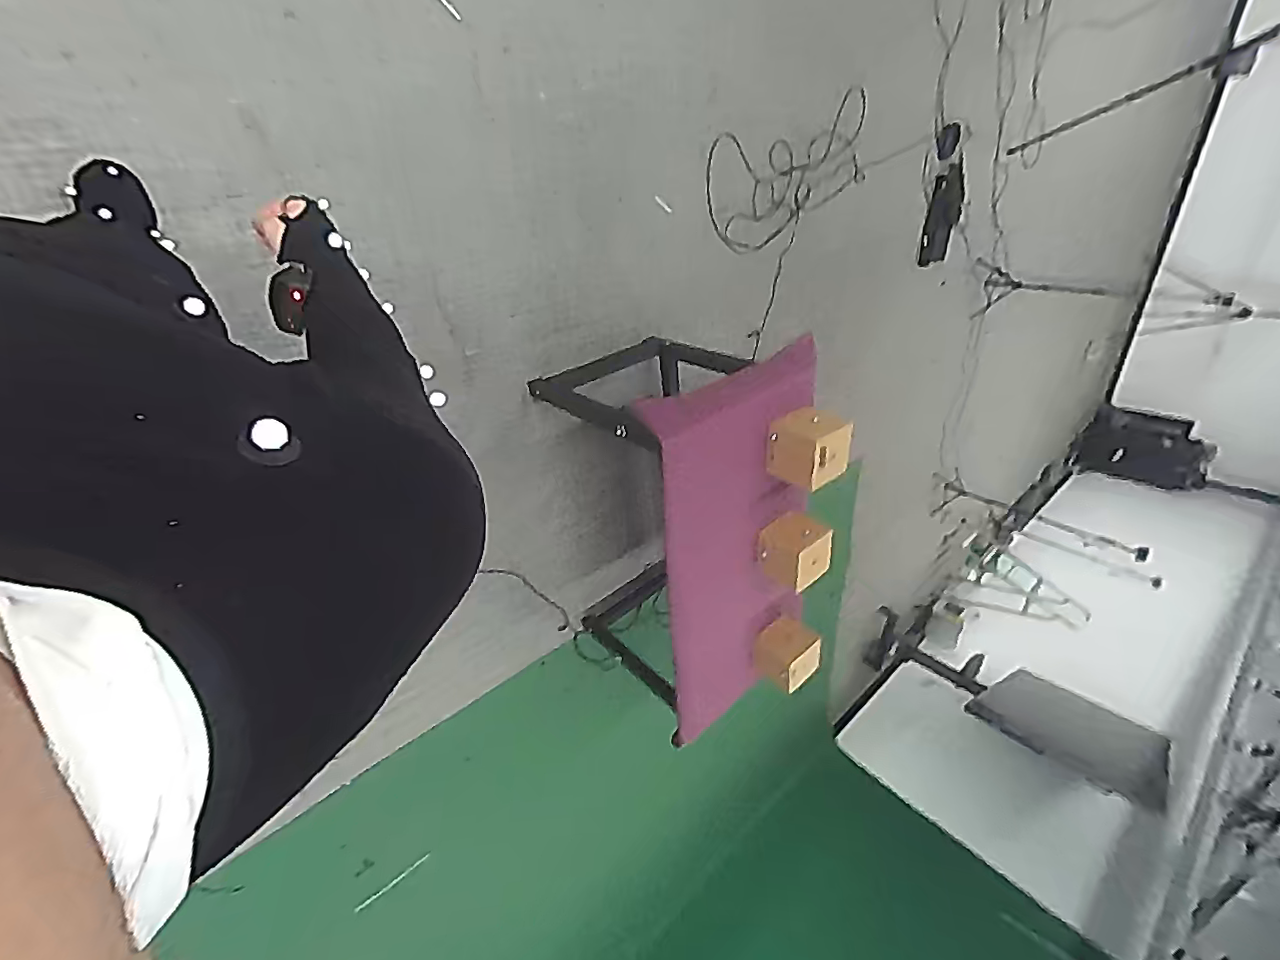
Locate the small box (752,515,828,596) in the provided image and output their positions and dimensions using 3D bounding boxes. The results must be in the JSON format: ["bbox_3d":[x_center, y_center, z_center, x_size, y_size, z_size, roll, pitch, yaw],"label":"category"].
[{"bbox_3d":[0.490,0.239,1.772,0.179,0.176,0.168,-26,125,-31],"label":"small box"}]

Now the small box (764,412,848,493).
[{"bbox_3d":[0.486,-0.087,1.602,0.179,0.176,0.168,-24,126,-32],"label":"small box"}]

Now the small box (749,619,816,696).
[{"bbox_3d":[0.526,0.650,2.003,0.179,0.176,0.168,-28,126,-31],"label":"small box"}]
